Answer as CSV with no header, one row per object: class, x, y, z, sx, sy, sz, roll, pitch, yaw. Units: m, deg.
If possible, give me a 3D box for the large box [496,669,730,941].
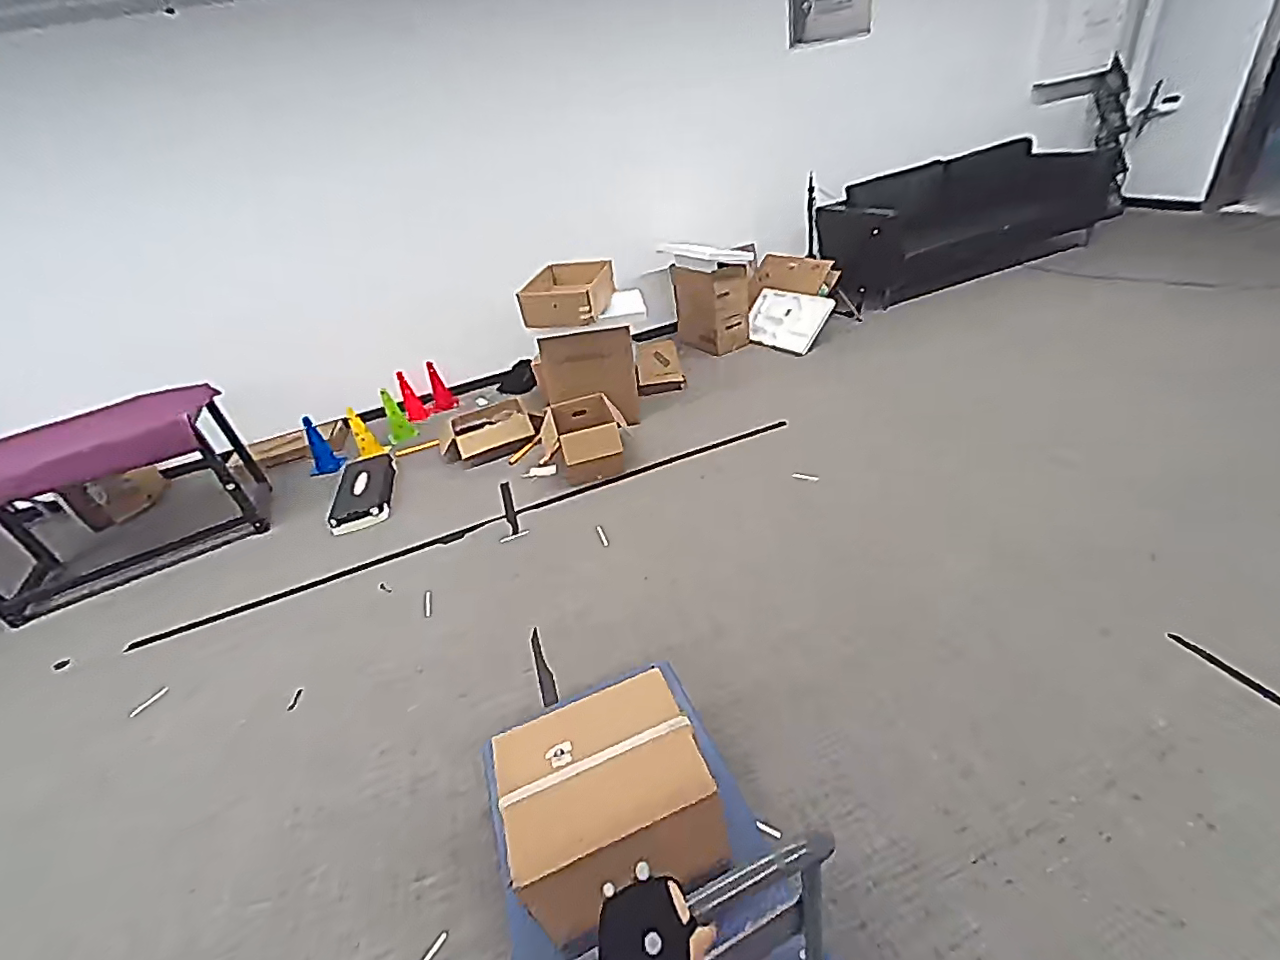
large box,-0.058,0.707,1.202,0.408,0.320,0.320,-21,33,-10
